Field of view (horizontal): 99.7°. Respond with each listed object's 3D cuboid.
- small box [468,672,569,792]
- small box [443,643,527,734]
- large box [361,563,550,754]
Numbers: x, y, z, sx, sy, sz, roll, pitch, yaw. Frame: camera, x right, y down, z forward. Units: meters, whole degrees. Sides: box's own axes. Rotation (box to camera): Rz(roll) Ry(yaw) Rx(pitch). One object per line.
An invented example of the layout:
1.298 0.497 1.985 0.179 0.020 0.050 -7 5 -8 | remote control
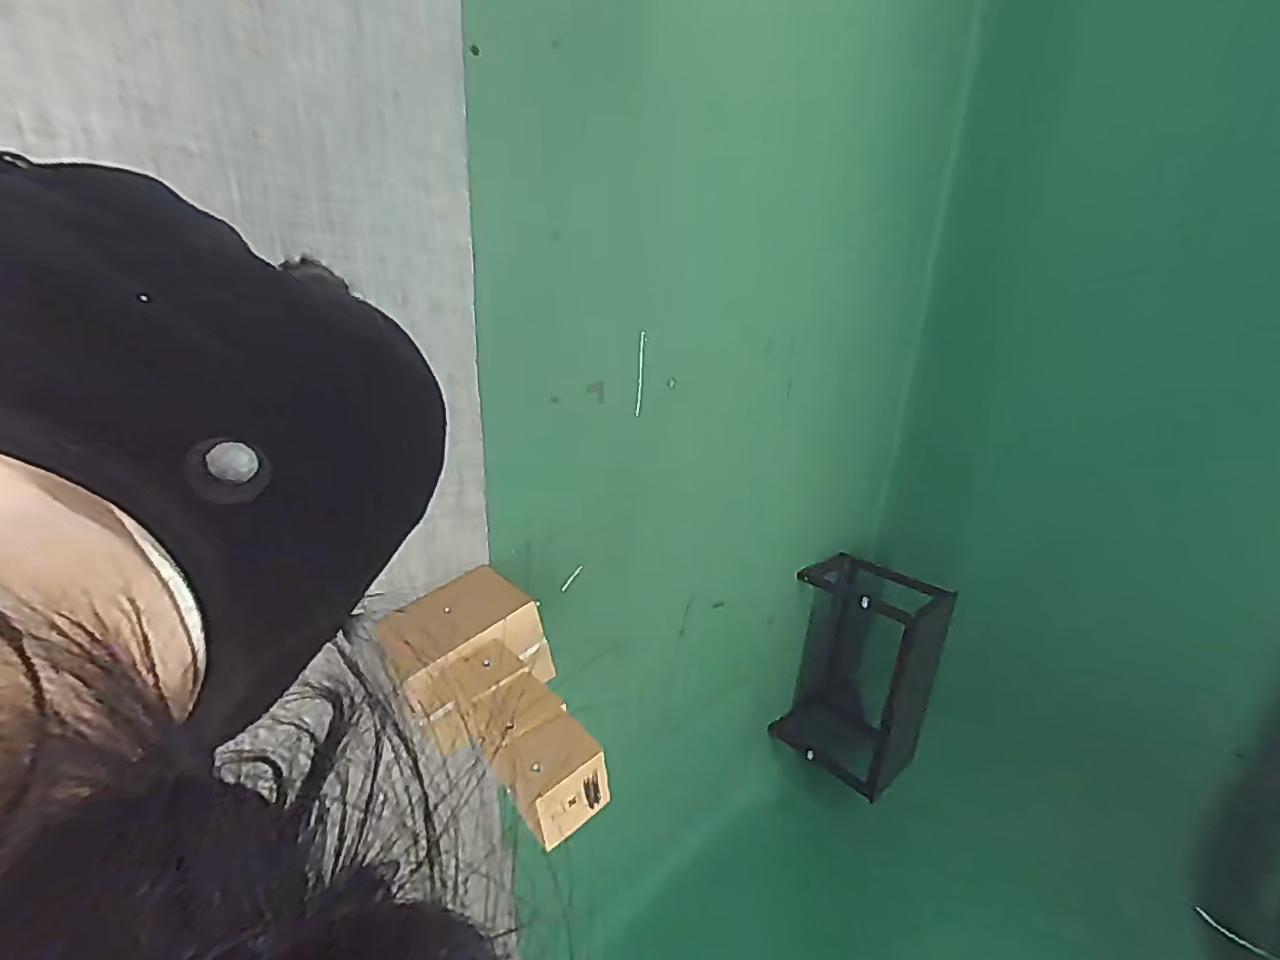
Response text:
-0.300 0.612 1.342 0.179 0.176 0.168 -22 119 -37 | small box
-0.408 0.564 1.453 0.168 0.176 0.179 -23 120 -37 | small box
-0.553 0.518 1.651 0.408 0.320 0.320 -30 125 -35 | large box
